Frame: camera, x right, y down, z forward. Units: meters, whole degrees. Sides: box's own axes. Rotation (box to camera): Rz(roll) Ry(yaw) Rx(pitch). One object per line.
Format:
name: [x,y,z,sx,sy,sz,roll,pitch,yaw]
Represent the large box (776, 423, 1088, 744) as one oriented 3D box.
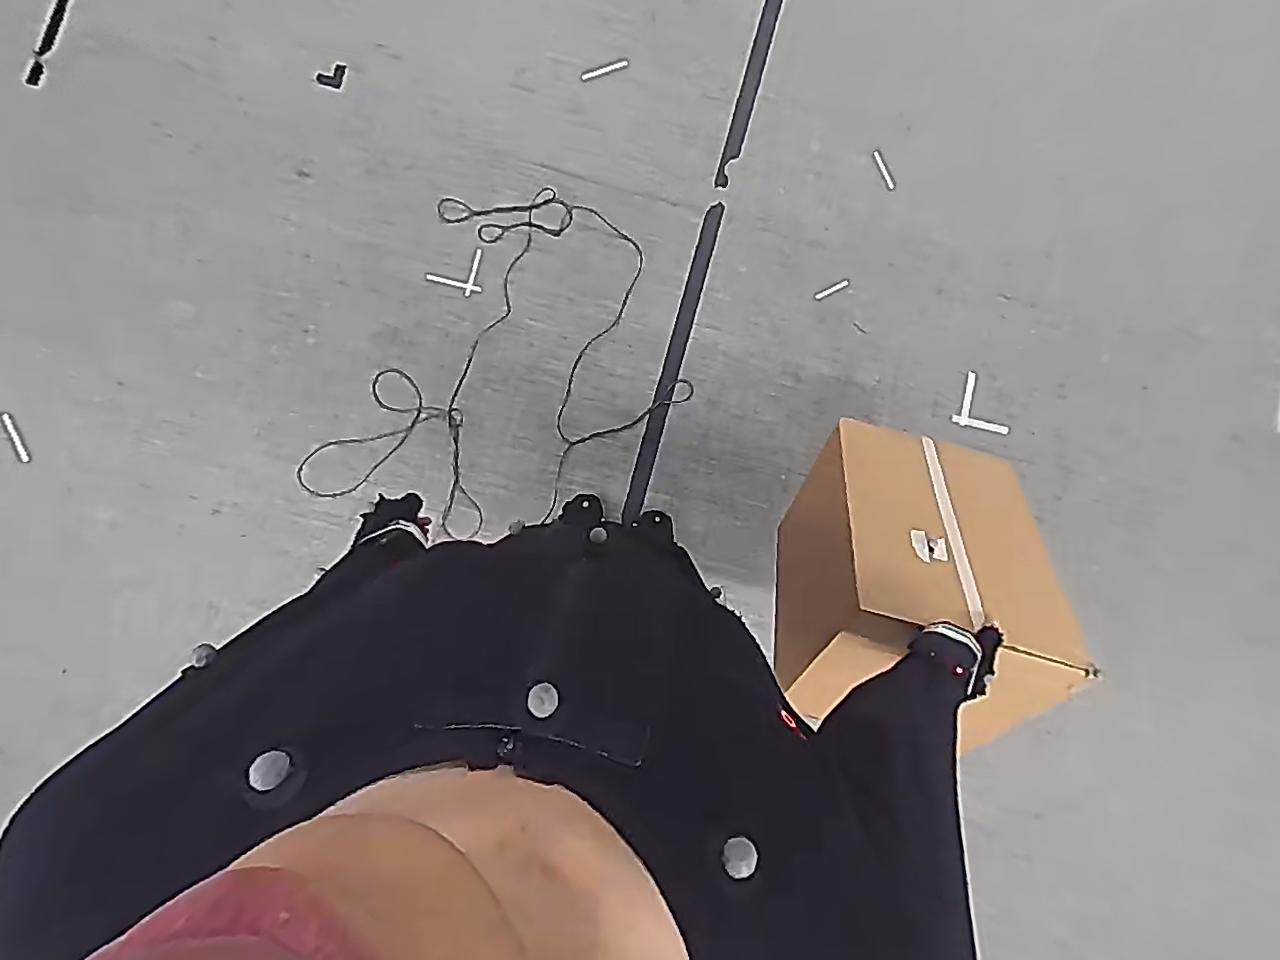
large box: [0.438,0.172,0.938,0.320,0.320,0.408,14,46,0]
